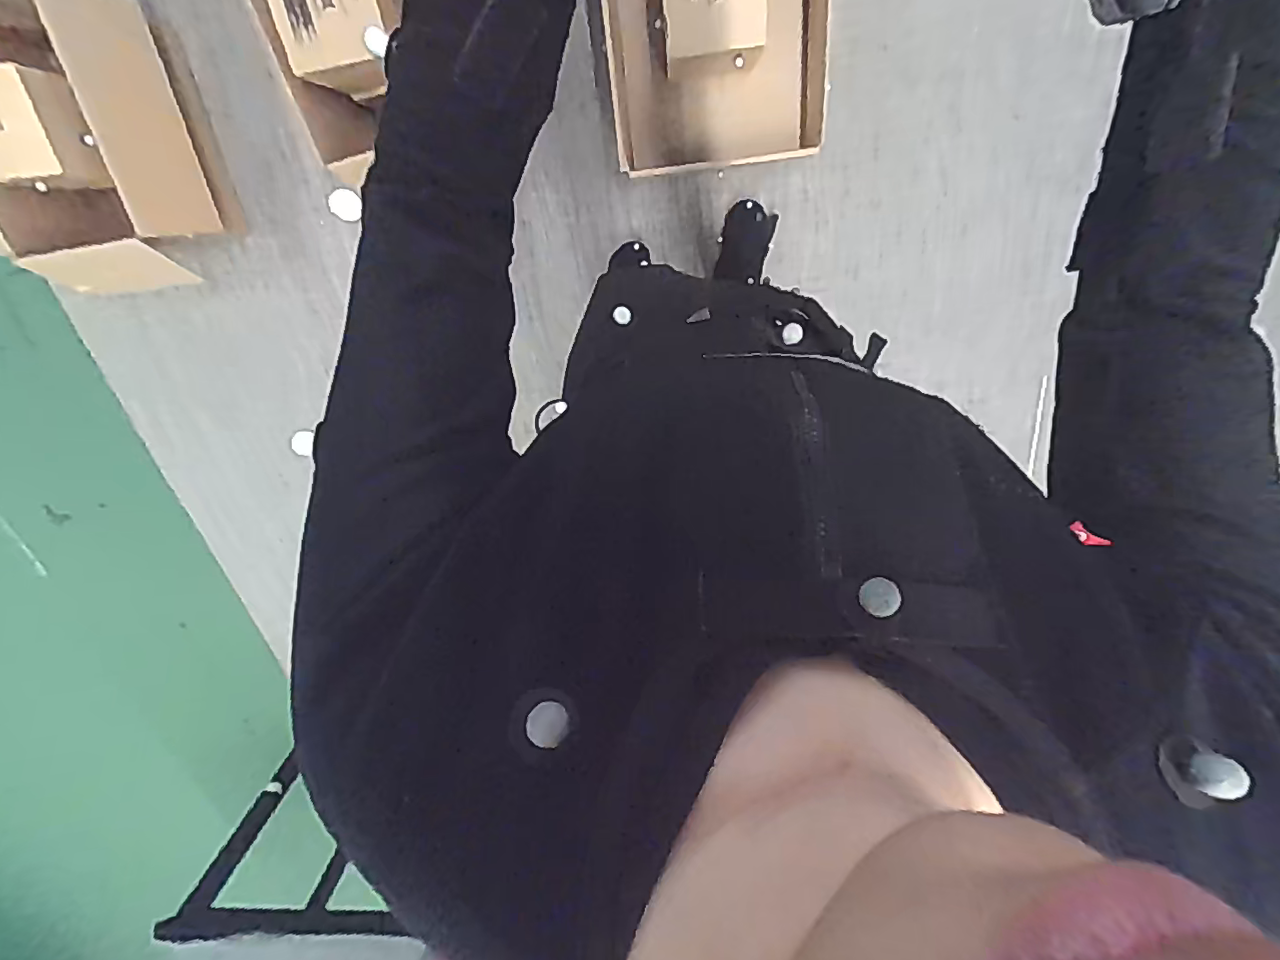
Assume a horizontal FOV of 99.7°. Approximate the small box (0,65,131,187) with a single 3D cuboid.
[{"bbox_3d":[-1.129,-0.658,1.022,0.179,0.176,0.168,-3,115,4],"label":"small box"}]
